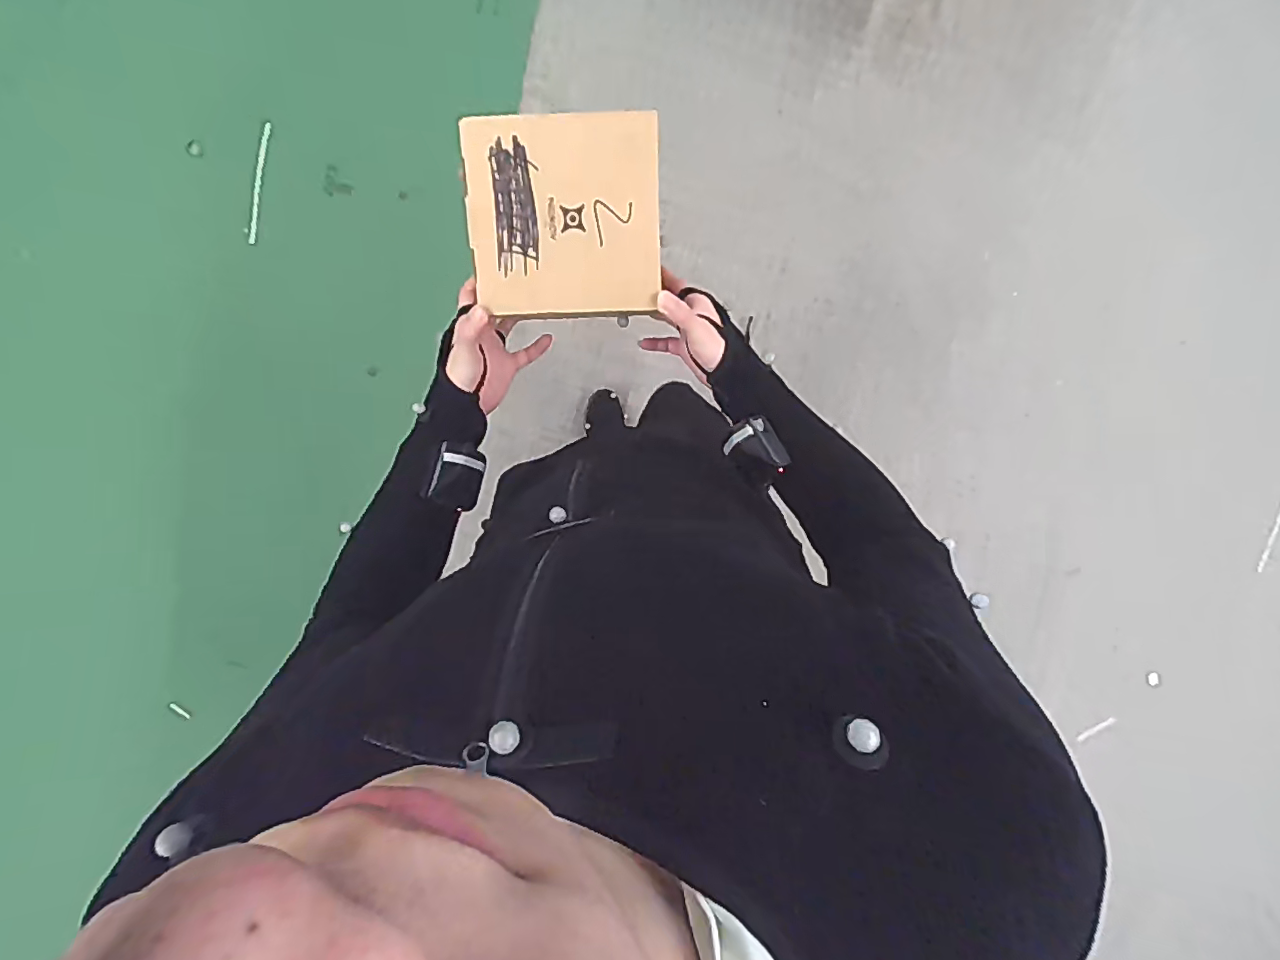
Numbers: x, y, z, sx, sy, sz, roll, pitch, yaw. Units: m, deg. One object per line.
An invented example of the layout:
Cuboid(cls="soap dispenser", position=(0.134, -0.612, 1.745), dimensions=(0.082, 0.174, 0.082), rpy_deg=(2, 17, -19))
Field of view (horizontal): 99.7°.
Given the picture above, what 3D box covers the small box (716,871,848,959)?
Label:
Cuboid(cls="small box", position=(0.239, 0.830, 0.949), dimensions=(0.179, 0.176, 0.168), rpy_deg=(7, 100, -3))
